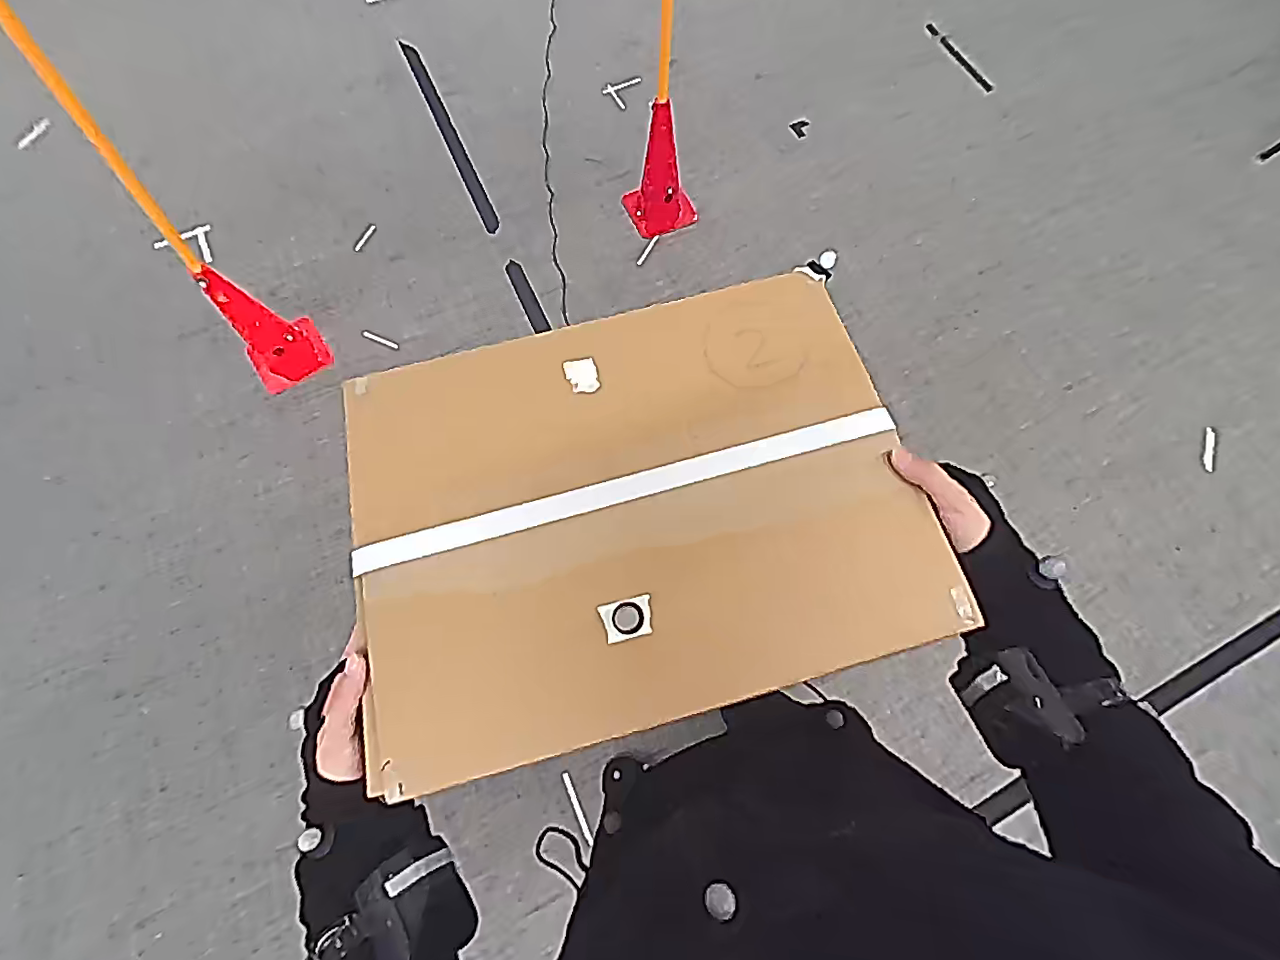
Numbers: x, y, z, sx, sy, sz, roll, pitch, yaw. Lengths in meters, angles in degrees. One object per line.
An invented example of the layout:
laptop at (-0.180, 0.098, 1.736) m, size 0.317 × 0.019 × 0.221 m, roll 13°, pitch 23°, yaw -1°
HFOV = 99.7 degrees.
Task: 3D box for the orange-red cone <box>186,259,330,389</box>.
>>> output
orange-red cone at (-1.016, -0.428, 1.397) m, size 0.199 × 0.360 × 0.198 m, roll -33°, pitch 73°, yaw -10°
